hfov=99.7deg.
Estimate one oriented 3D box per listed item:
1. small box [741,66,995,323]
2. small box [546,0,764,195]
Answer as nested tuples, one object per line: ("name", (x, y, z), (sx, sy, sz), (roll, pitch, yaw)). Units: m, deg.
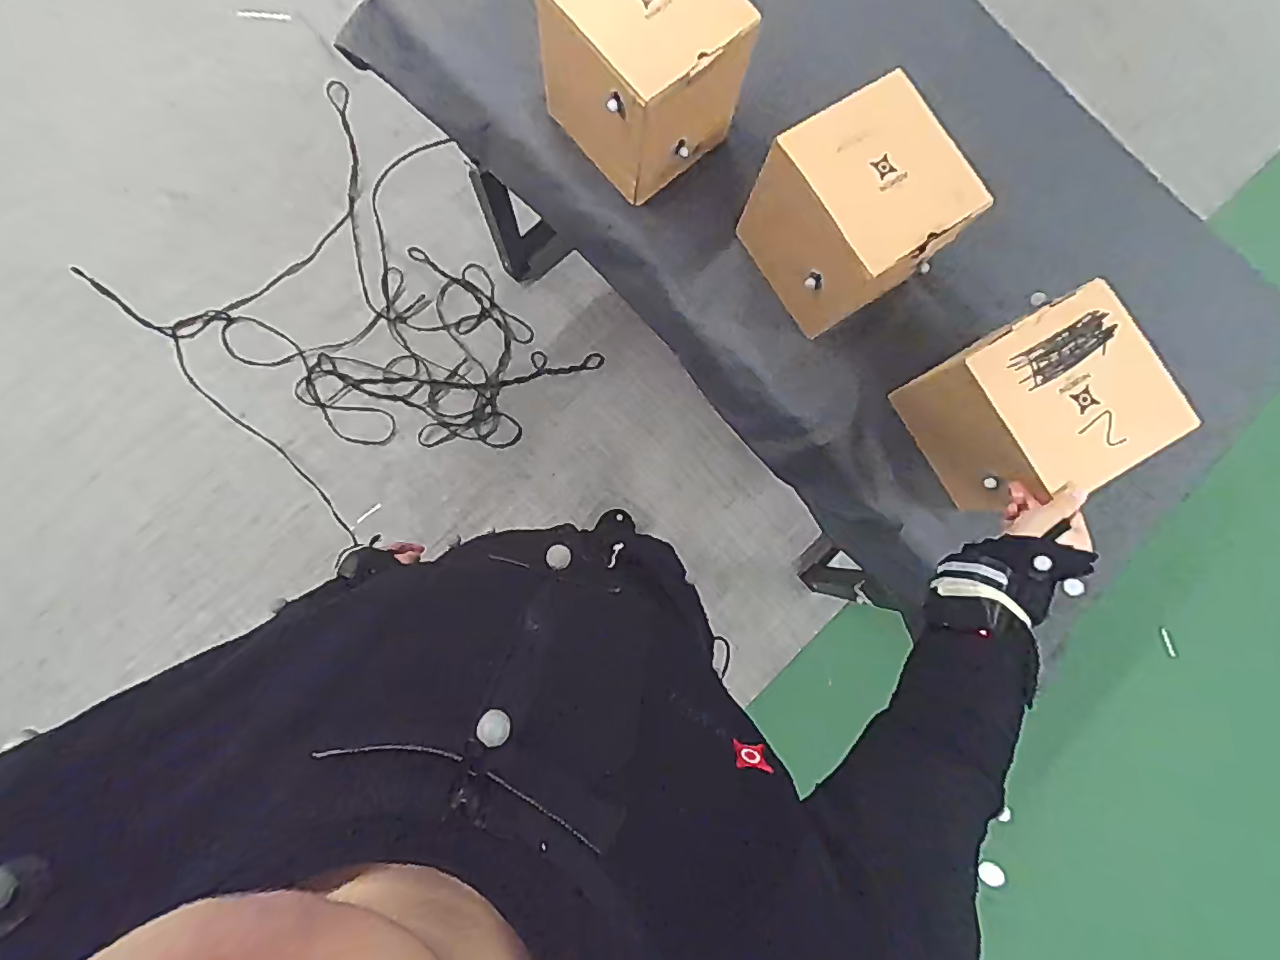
("small box", (0.244, -0.306, 0.624), (0.168, 0.176, 0.179), (-33, 86, -8))
("small box", (0.005, -0.482, 0.628), (0.168, 0.176, 0.179), (-42, 88, -8))
